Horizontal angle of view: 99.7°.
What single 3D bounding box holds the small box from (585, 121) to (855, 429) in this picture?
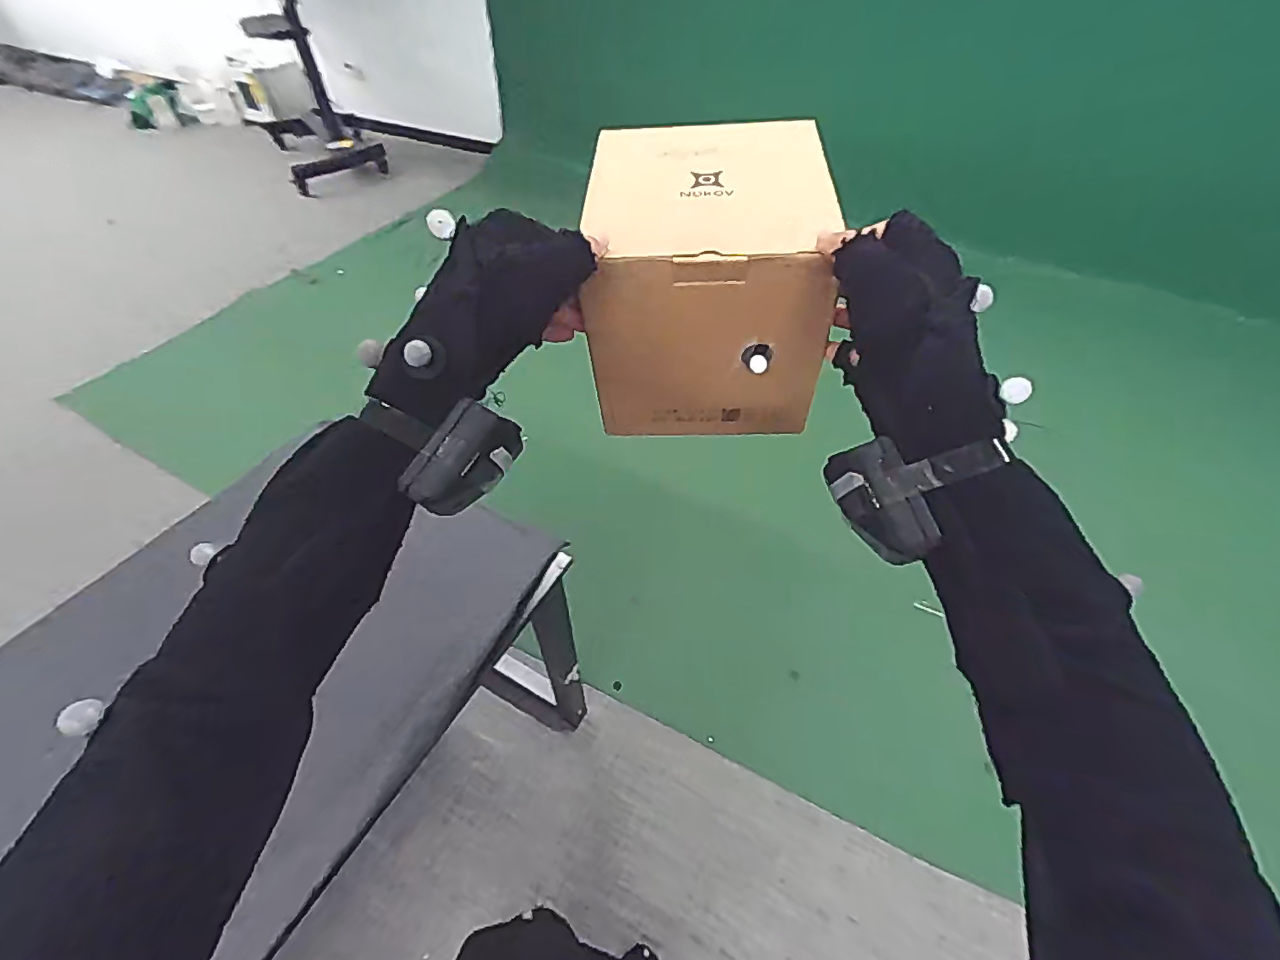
[{"bbox_3d":[0.058,-0.156,0.435,0.168,0.176,0.179,1,55,5],"label":"small box"}]
